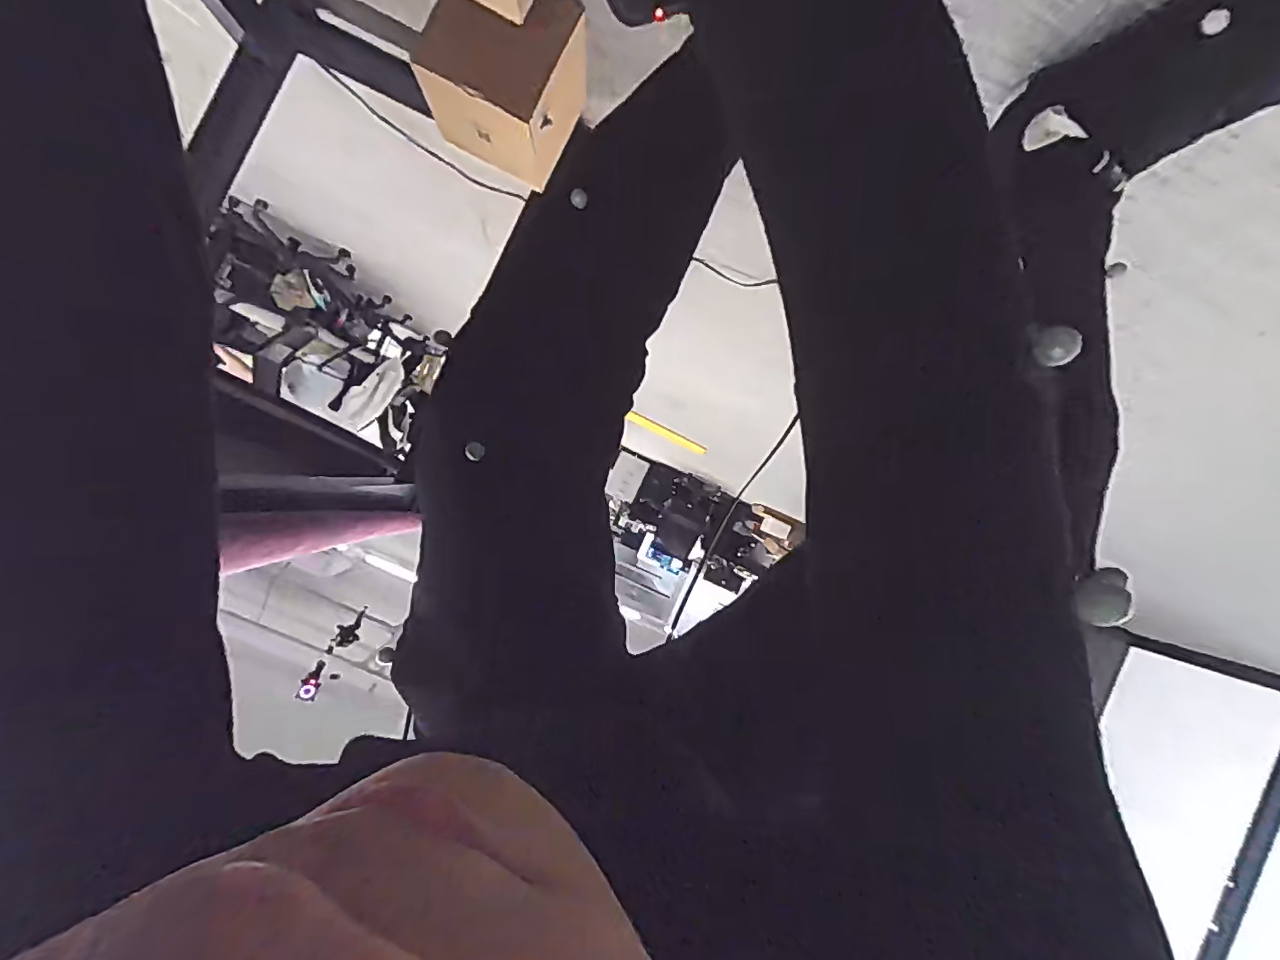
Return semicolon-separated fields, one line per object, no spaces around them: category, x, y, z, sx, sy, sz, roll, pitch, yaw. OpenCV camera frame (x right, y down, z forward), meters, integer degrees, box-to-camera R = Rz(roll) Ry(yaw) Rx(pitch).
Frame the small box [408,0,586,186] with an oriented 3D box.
small box;-0.182;-0.562;0.750;0.168;0.176;0.179;25;178;-4
